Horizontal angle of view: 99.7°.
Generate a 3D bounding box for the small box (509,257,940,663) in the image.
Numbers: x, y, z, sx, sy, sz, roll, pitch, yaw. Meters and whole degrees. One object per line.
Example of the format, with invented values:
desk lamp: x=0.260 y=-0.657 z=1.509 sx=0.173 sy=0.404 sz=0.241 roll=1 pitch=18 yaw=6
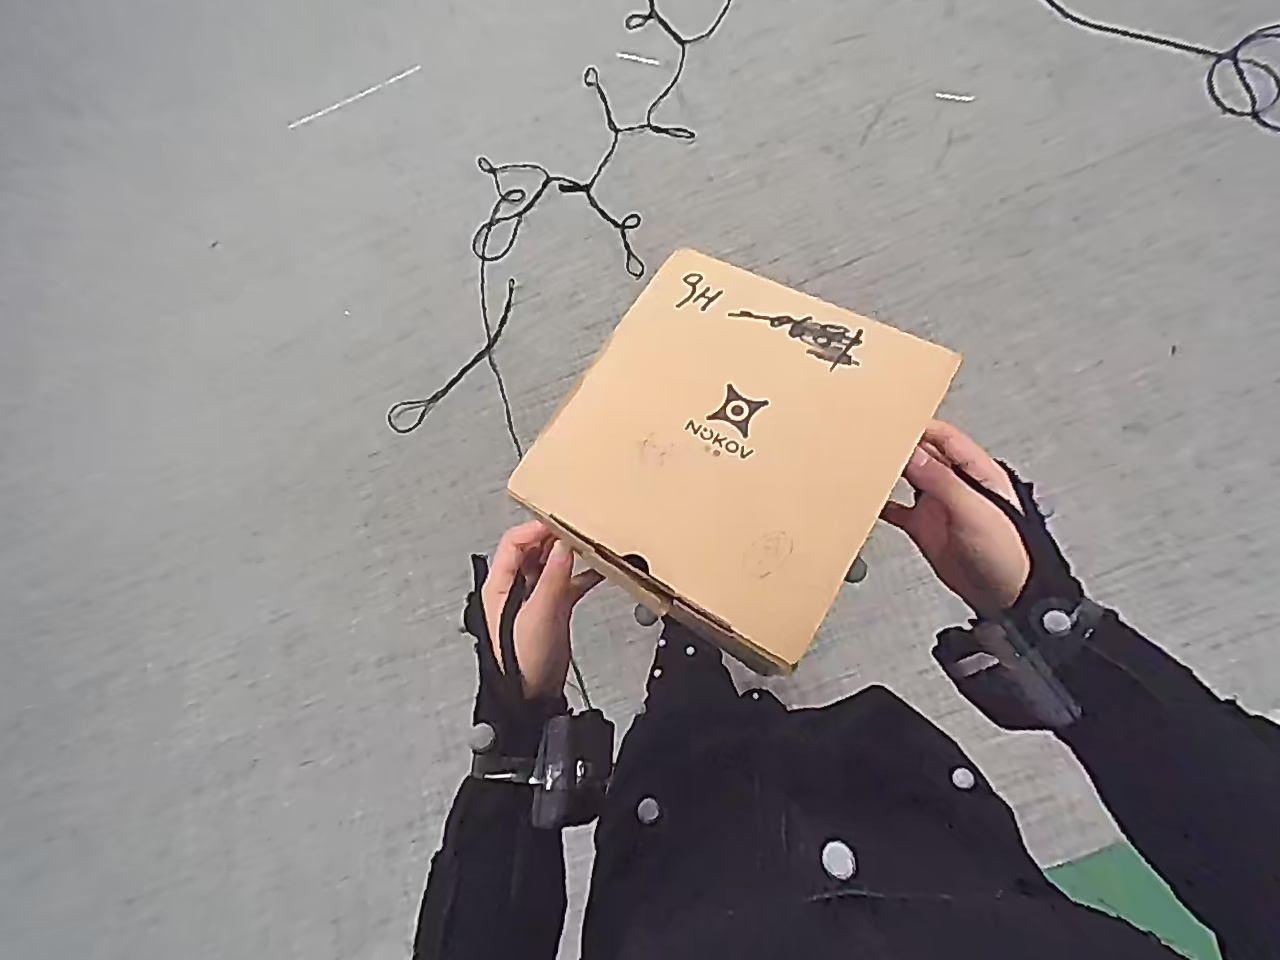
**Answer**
small box: x=0.054 y=0.001 z=0.354 sx=0.168 sy=0.176 sz=0.179 roll=30 pitch=78 yaw=18
